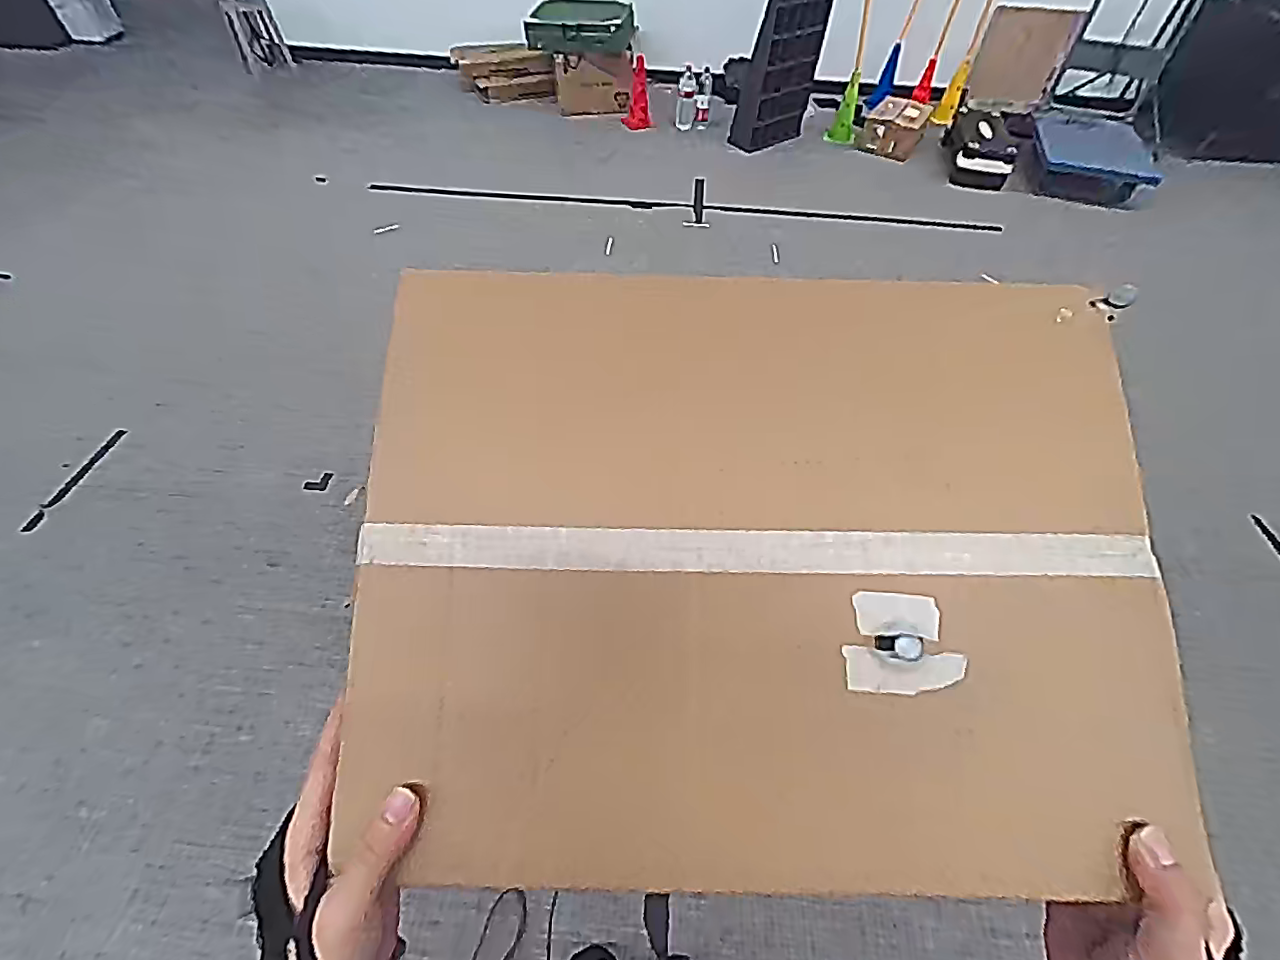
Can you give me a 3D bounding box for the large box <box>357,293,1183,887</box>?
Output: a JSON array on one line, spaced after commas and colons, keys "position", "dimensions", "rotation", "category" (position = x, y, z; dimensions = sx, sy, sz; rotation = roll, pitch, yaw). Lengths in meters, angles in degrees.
[{"position": [0.060, 0.073, 0.433], "dimensions": [0.408, 0.320, 0.320], "rotation": [1, 78, -1], "category": "large box"}]
